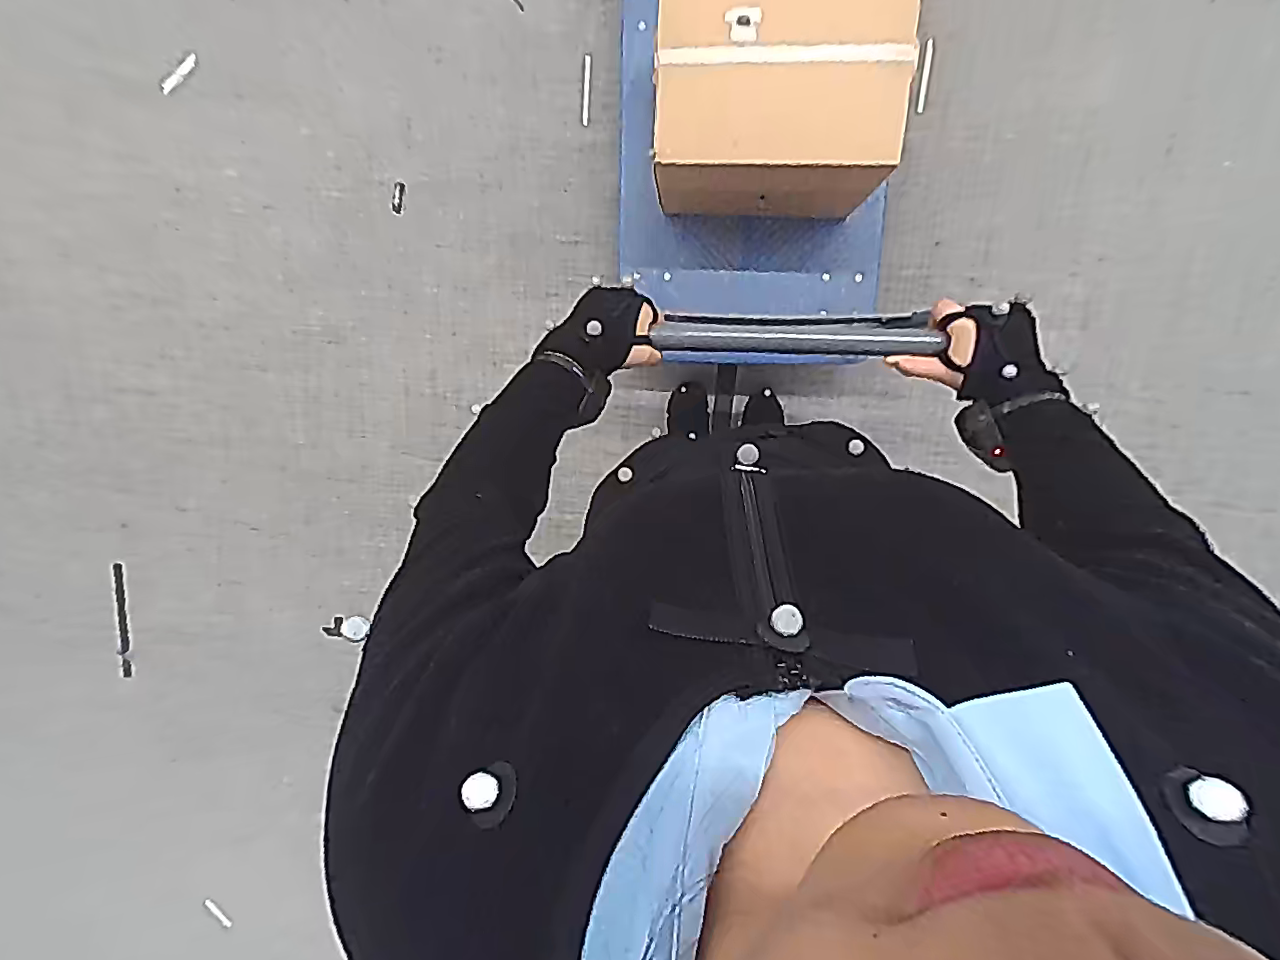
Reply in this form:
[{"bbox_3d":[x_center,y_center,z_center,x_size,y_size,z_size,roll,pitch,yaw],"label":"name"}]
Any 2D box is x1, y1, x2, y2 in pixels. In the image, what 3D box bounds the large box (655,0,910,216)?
[{"bbox_3d":[0.245,-0.710,1.033,0.408,0.320,0.320,3,101,6],"label":"large box"}]
